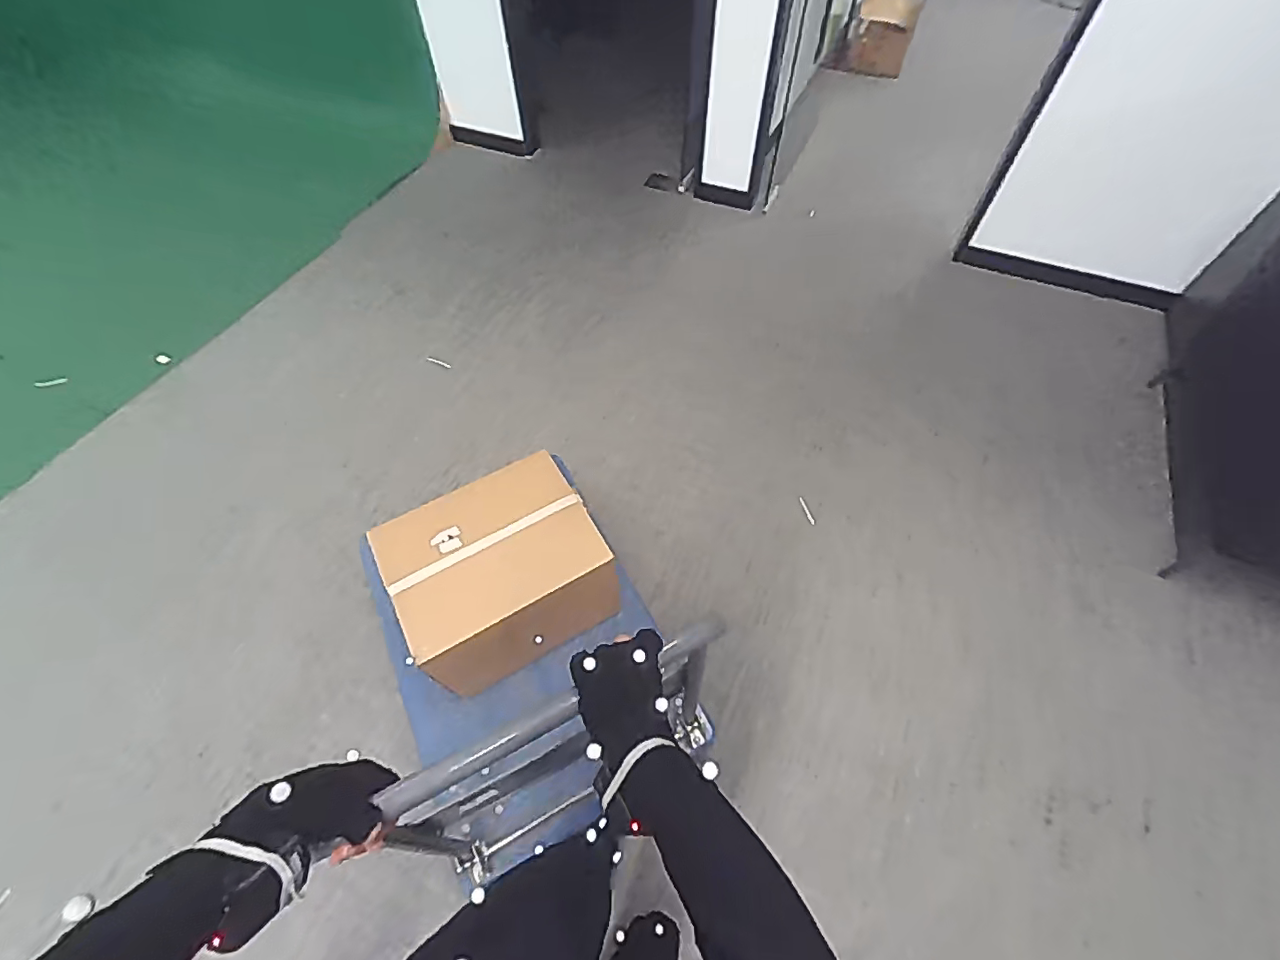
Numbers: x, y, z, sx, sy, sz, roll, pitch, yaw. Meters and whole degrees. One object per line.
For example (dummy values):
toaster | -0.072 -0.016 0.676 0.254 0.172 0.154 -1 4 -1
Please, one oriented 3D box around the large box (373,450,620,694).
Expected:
large box | -0.292 0.208 1.201 0.408 0.320 0.320 -28 61 -16
